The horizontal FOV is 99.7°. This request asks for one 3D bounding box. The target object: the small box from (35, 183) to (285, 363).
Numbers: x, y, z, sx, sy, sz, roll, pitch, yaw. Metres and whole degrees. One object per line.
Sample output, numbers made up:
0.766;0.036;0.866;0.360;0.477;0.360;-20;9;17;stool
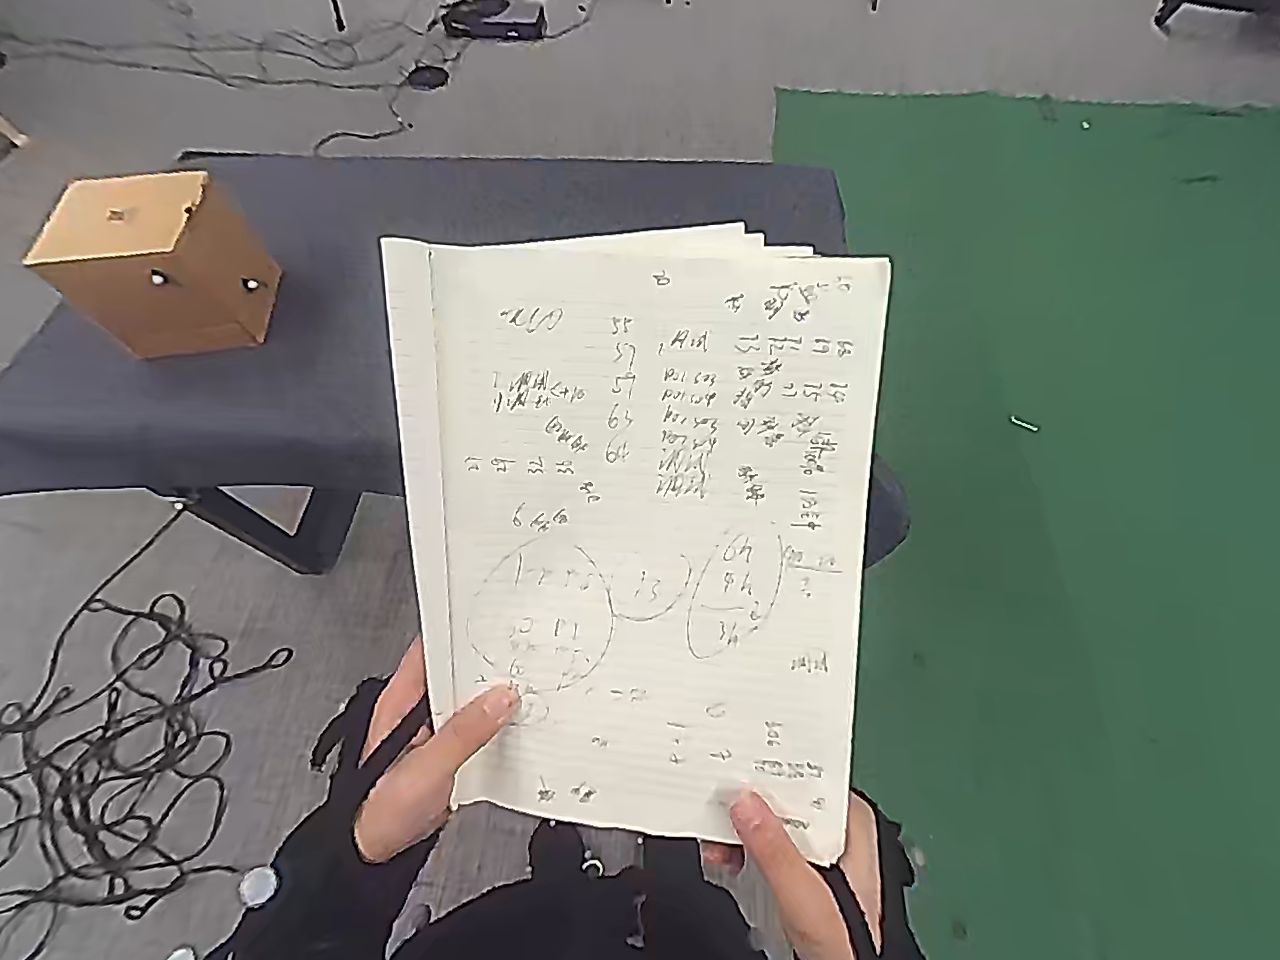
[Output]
-0.646;-0.282;0.757;0.179;0.176;0.168;-7;60;-3;small box
